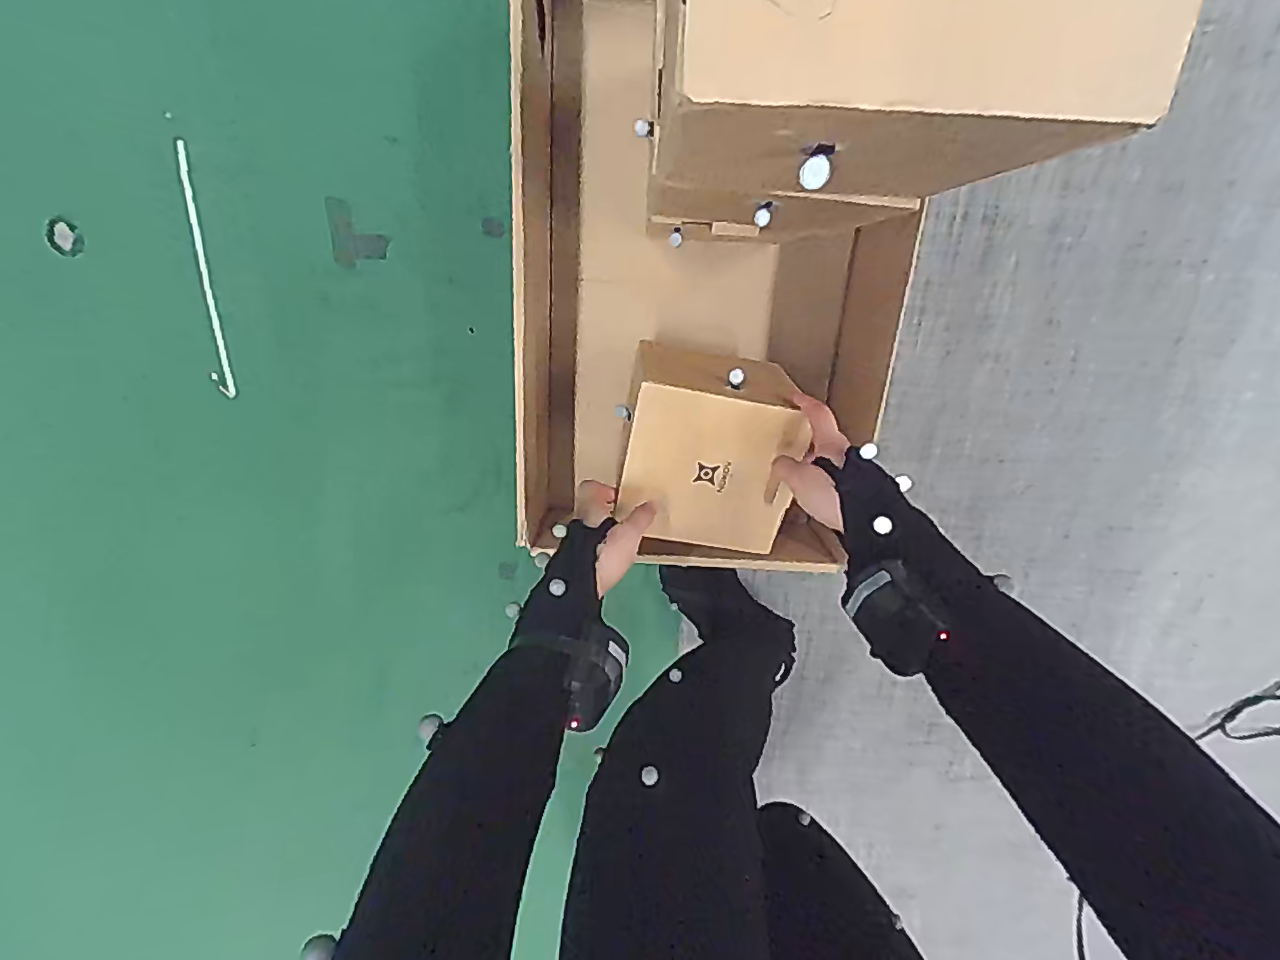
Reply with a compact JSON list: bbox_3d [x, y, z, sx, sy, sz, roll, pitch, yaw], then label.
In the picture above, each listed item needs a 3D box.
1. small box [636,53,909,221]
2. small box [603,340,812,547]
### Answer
[{"bbox_3d":[0.090,-0.294,0.394,0.179,0.176,0.168,4,109,-3],"label":"small box"},{"bbox_3d":[0.059,-0.049,0.601,0.179,0.176,0.168,8,117,-7],"label":"small box"}]
